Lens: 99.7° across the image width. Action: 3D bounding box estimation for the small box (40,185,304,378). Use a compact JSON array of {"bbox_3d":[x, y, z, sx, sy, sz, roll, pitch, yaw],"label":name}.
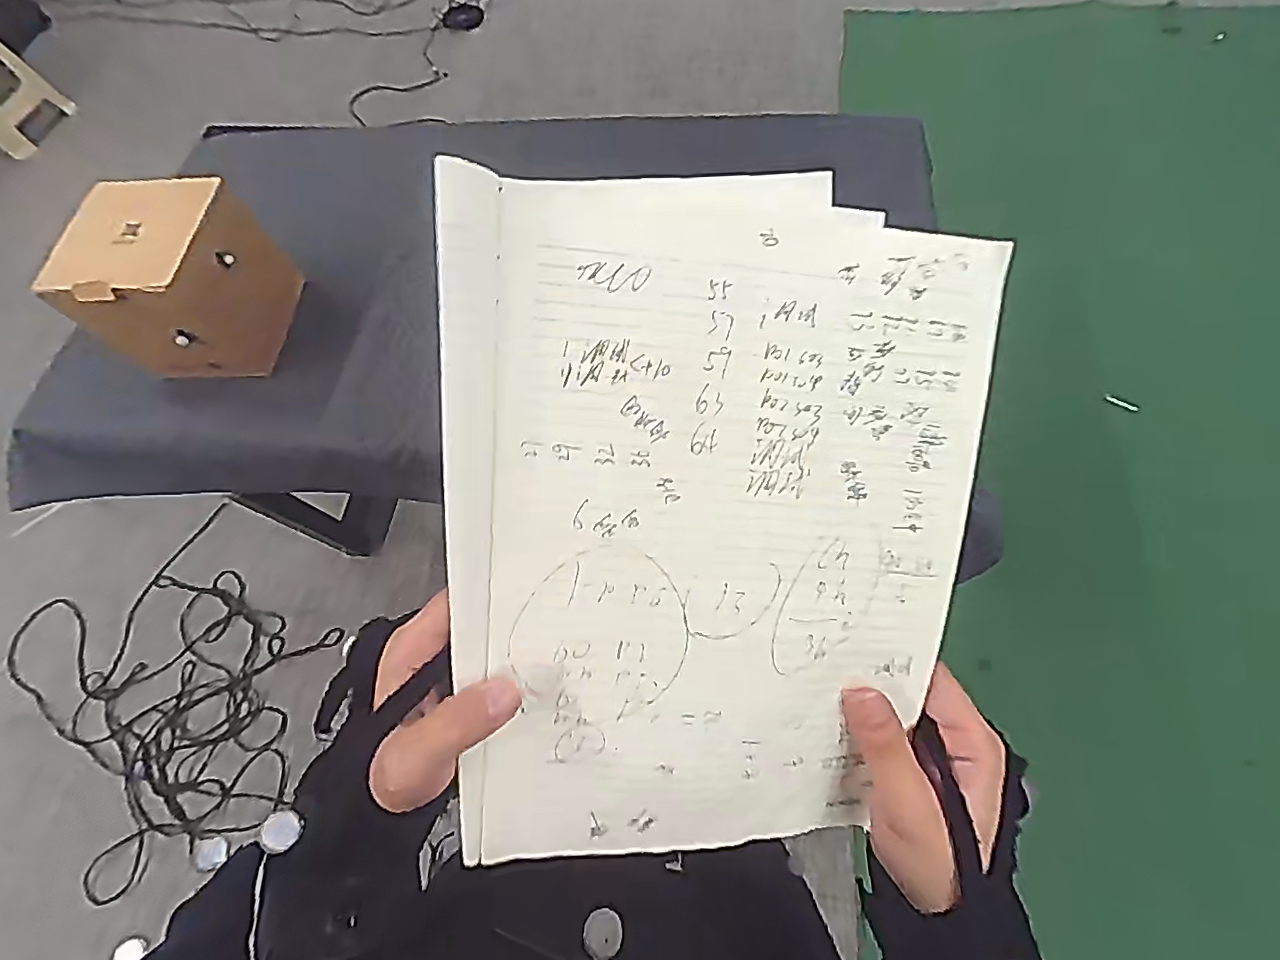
[{"bbox_3d":[-0.577,-0.246,0.699,0.168,0.176,0.179,0,65,4],"label":"small box"}]
